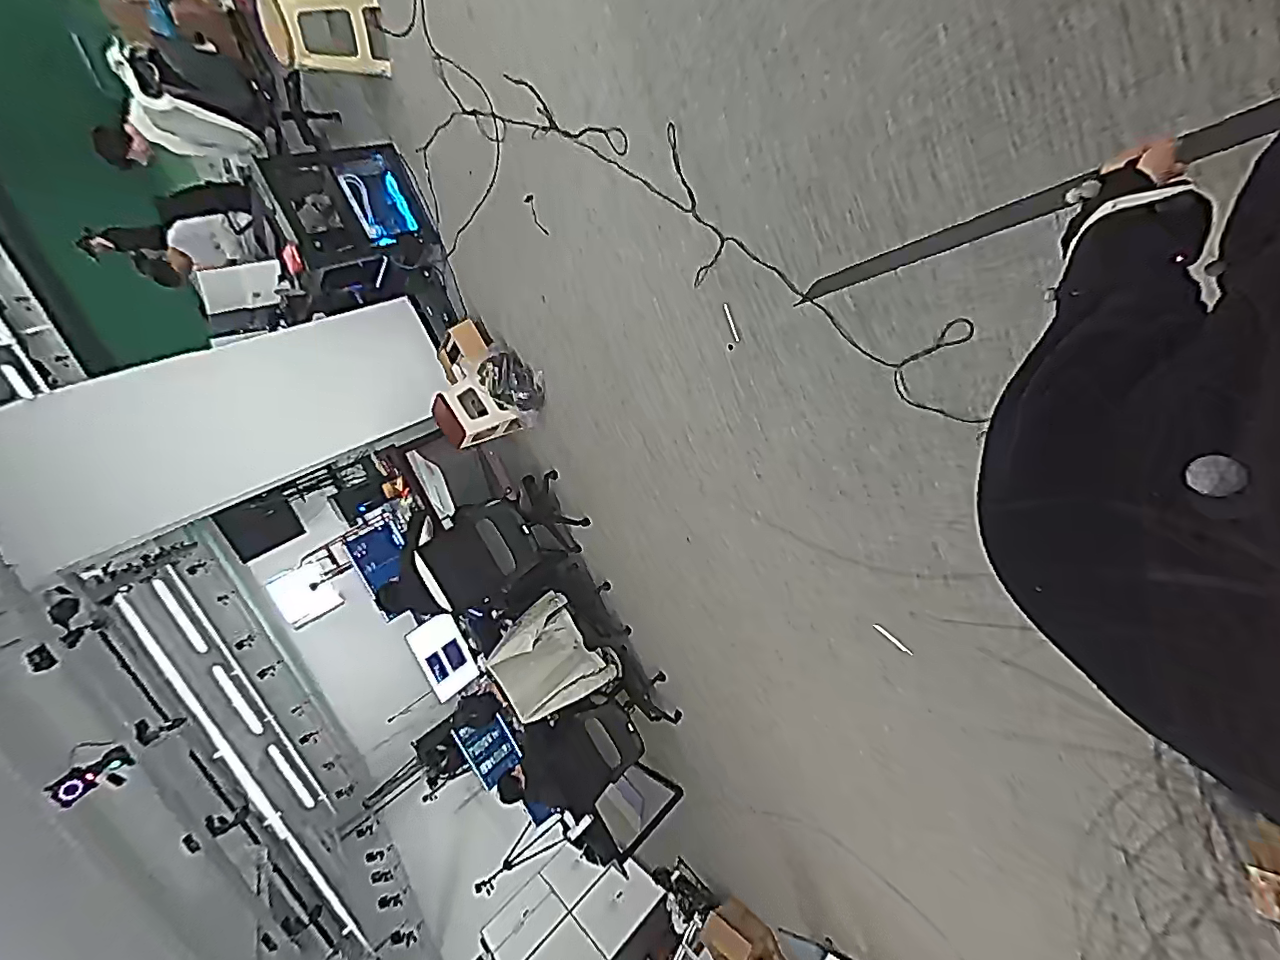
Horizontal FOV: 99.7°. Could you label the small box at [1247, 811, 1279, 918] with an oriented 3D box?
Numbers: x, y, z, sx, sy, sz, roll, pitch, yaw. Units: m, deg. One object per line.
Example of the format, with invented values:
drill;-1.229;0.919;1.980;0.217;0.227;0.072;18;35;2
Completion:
small box;1.621;0.962;1.314;0.168;0.176;0.179;-7;113;55
